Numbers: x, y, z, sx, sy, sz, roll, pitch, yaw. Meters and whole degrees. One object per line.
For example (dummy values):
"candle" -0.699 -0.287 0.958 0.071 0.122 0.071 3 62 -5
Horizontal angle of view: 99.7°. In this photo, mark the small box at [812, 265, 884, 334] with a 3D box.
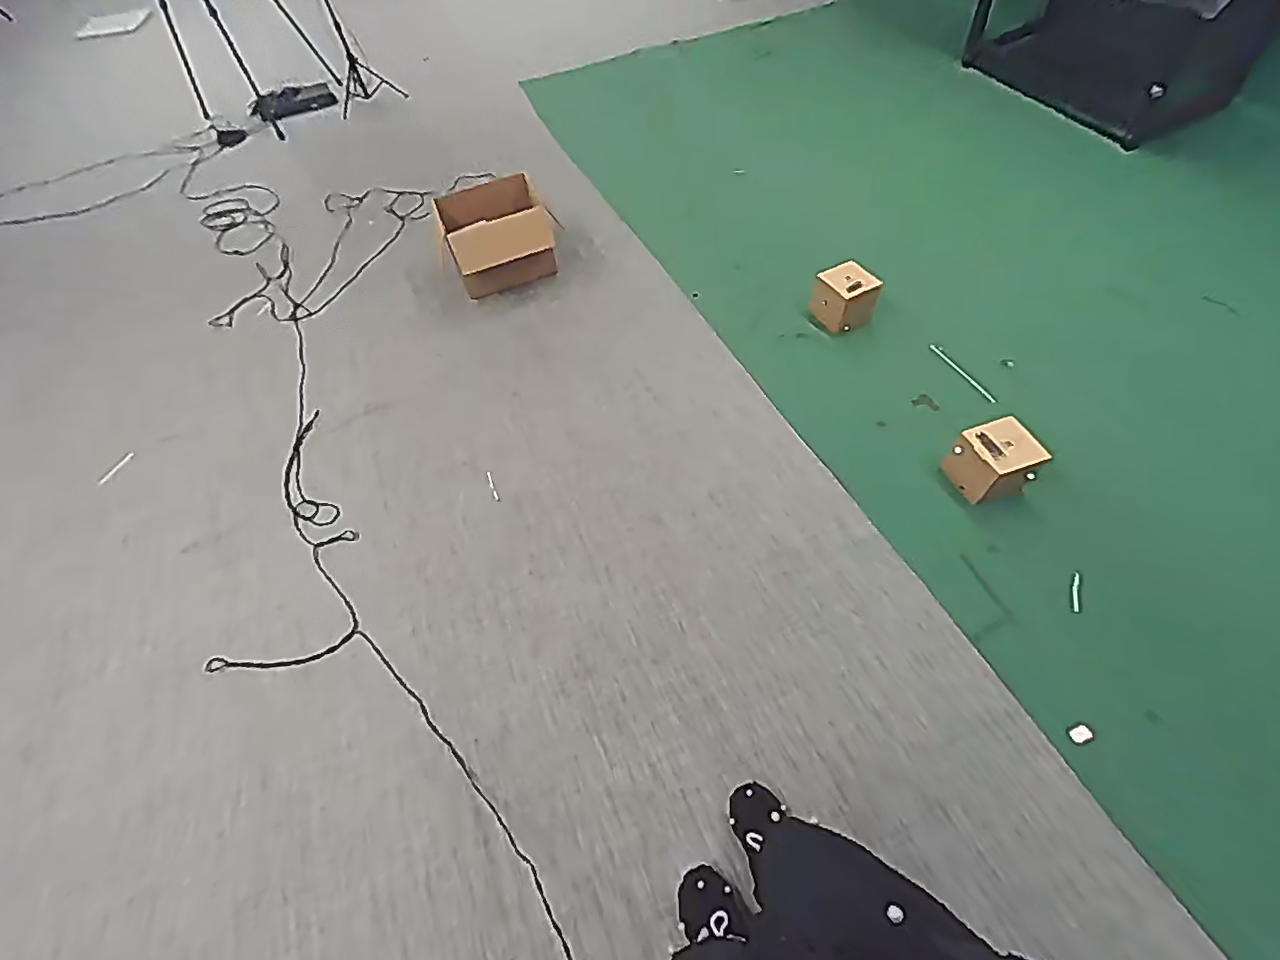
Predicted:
"small box" 0.781 -0.676 2.049 0.168 0.176 0.179 -24 56 -12
